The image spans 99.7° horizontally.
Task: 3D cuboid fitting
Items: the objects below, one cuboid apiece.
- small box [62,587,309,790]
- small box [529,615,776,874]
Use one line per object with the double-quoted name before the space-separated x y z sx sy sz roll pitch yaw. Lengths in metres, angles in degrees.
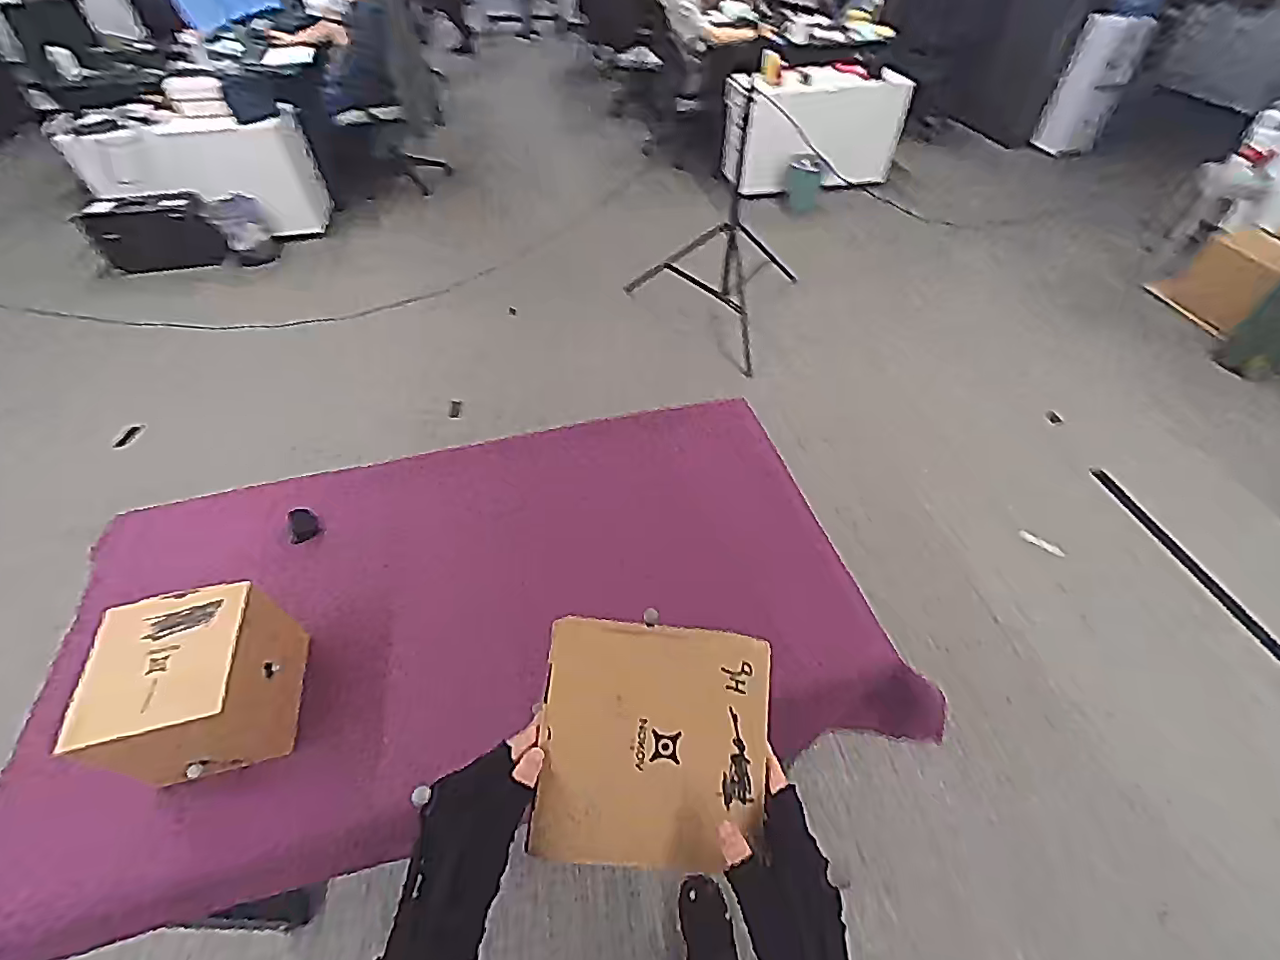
"small box" -0.557 0.269 0.699 0.168 0.176 0.179 -12 50 -10
"small box" 0.011 0.215 0.486 0.179 0.176 0.168 6 76 -1
